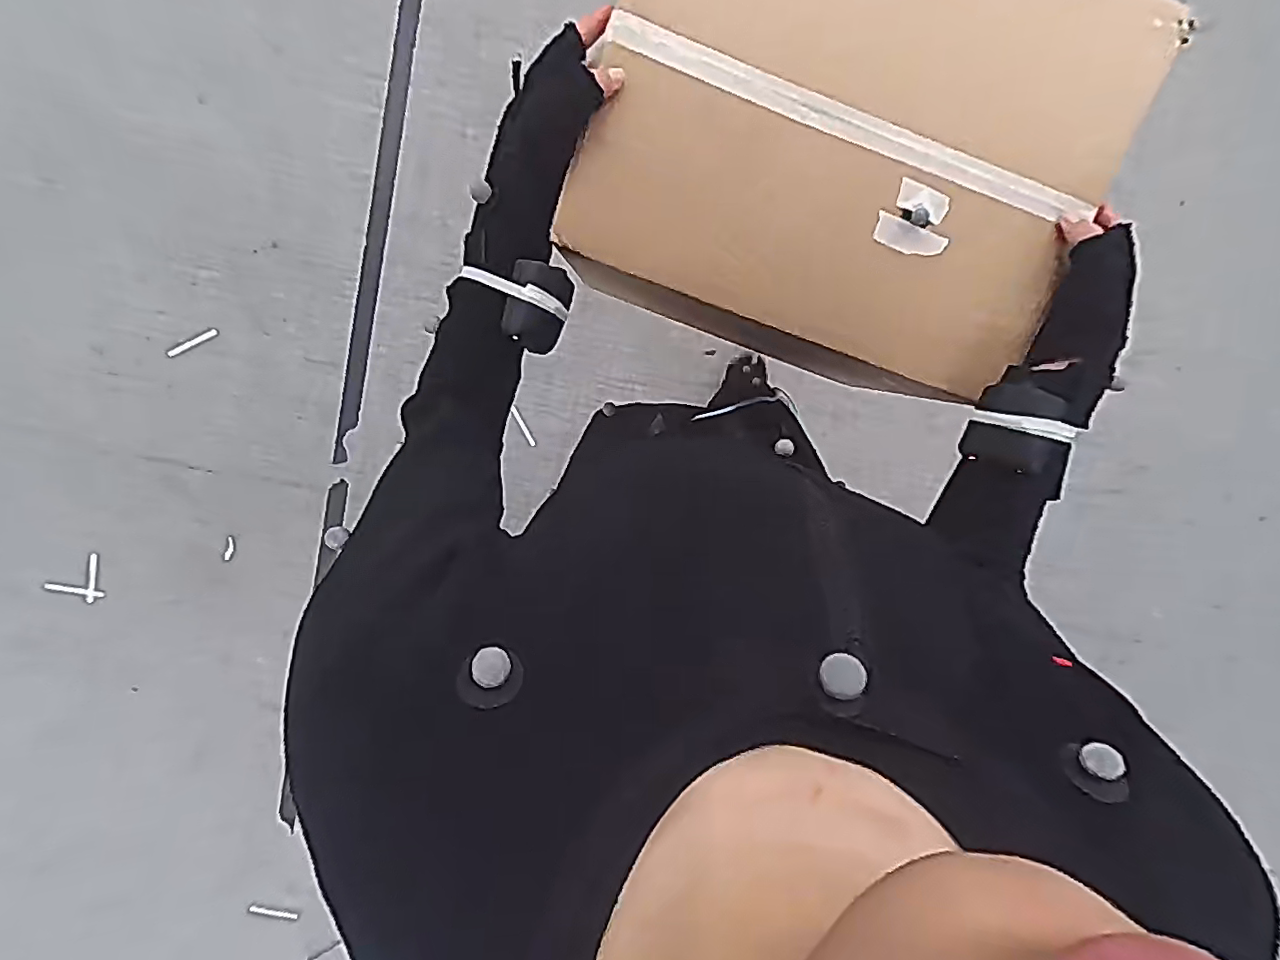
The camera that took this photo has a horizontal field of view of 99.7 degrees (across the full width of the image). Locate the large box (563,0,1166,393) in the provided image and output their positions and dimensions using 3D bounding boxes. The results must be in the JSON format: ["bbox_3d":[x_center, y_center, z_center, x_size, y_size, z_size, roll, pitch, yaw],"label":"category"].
[{"bbox_3d":[0.165,-0.312,0.572,0.408,0.320,0.320,19,103,-6],"label":"large box"}]
